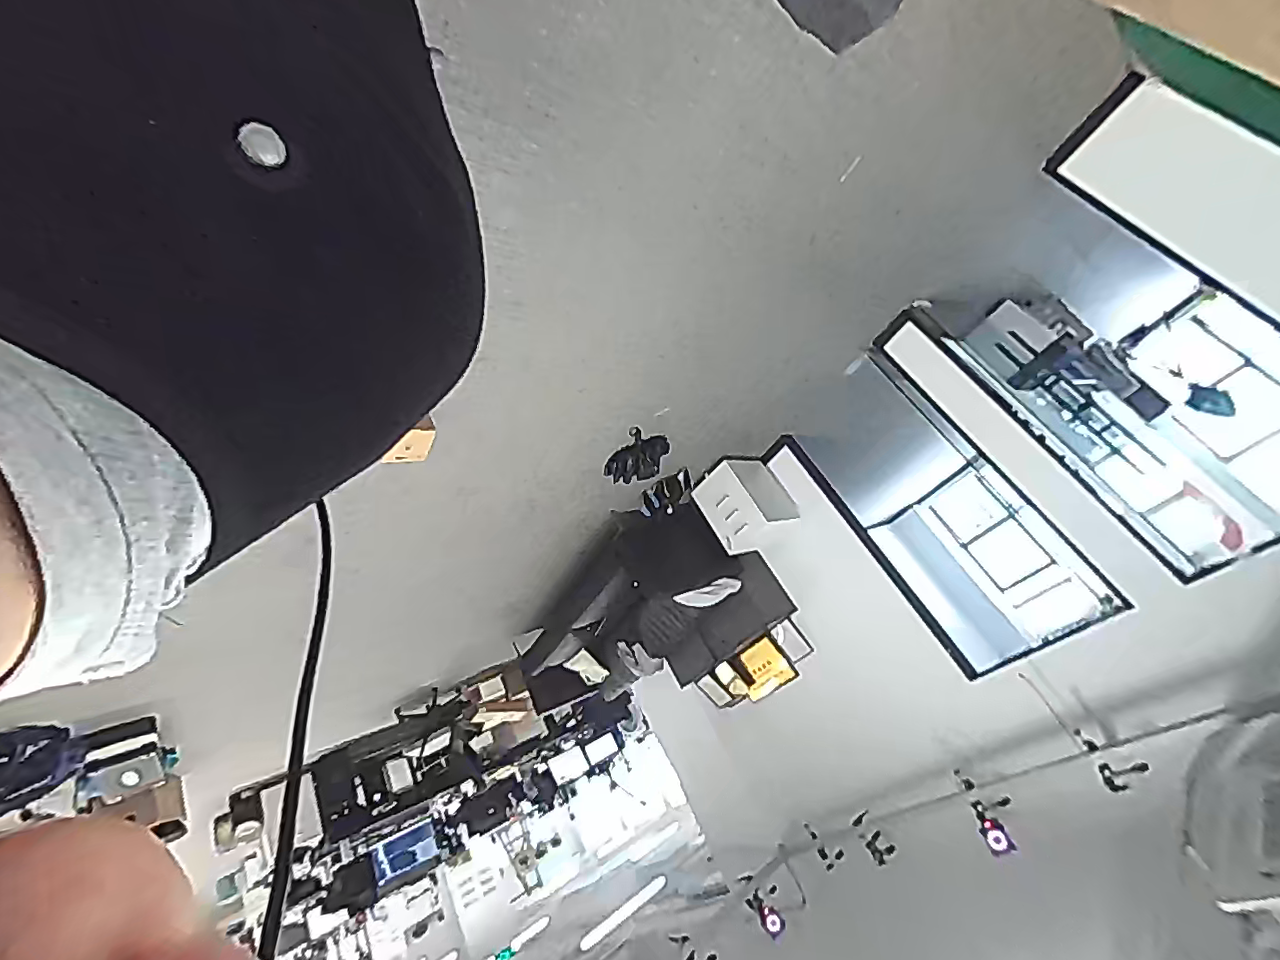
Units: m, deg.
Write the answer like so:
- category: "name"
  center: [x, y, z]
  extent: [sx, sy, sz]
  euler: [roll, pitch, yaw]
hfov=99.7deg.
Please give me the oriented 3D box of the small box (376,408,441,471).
- category: "small box"
  center: [-0.878, -0.158, 2.035]
  extent: [0.168, 0.176, 0.179]
  euler: [-7, 144, -43]
